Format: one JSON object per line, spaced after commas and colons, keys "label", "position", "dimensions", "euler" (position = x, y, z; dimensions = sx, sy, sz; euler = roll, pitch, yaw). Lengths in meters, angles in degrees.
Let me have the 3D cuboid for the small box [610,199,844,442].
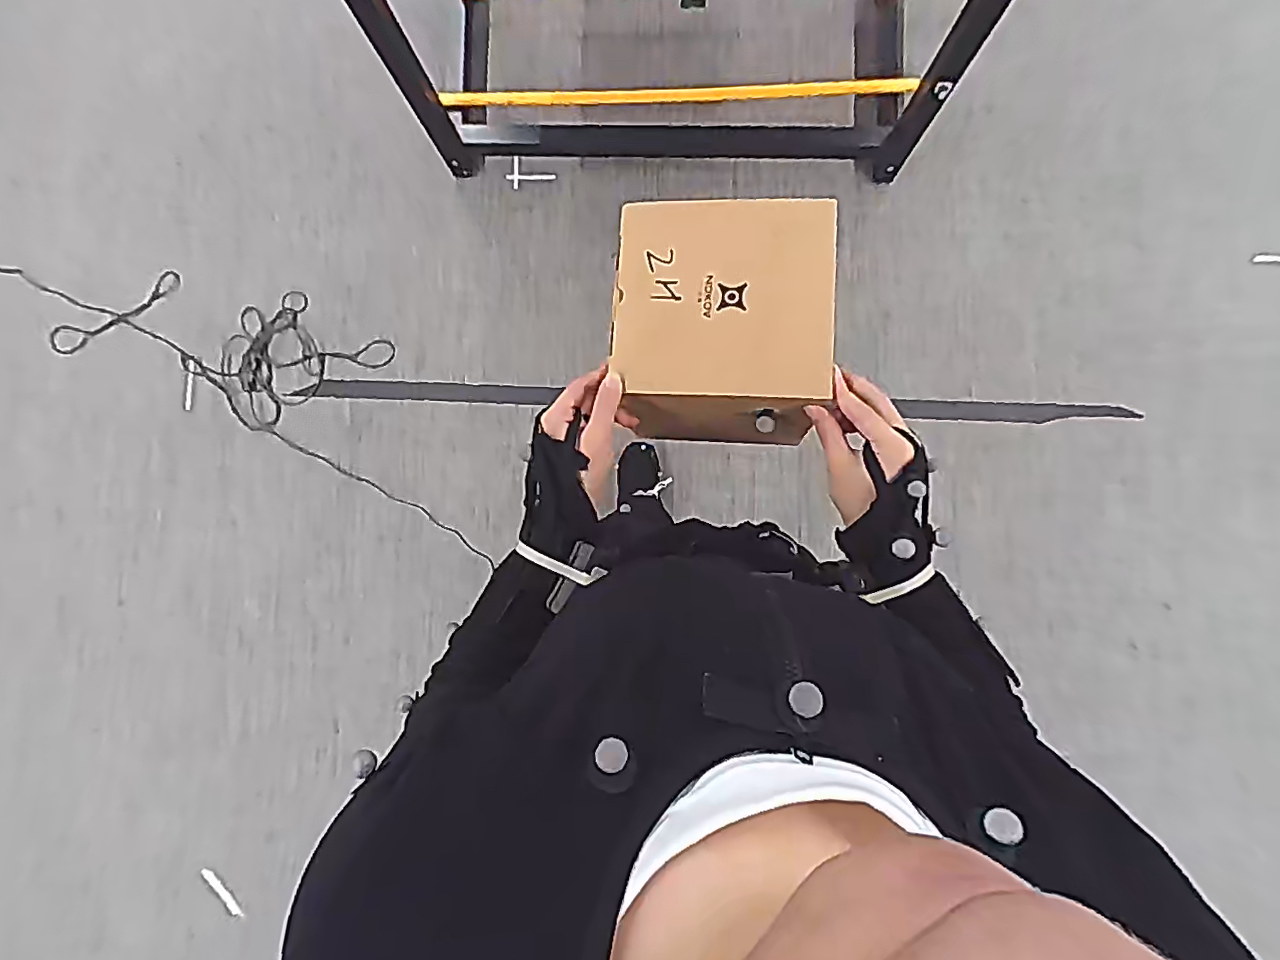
{"label": "small box", "position": [0.079, -0.134, 0.505], "dimensions": [0.179, 0.176, 0.168], "euler": [3, 82, 9]}
